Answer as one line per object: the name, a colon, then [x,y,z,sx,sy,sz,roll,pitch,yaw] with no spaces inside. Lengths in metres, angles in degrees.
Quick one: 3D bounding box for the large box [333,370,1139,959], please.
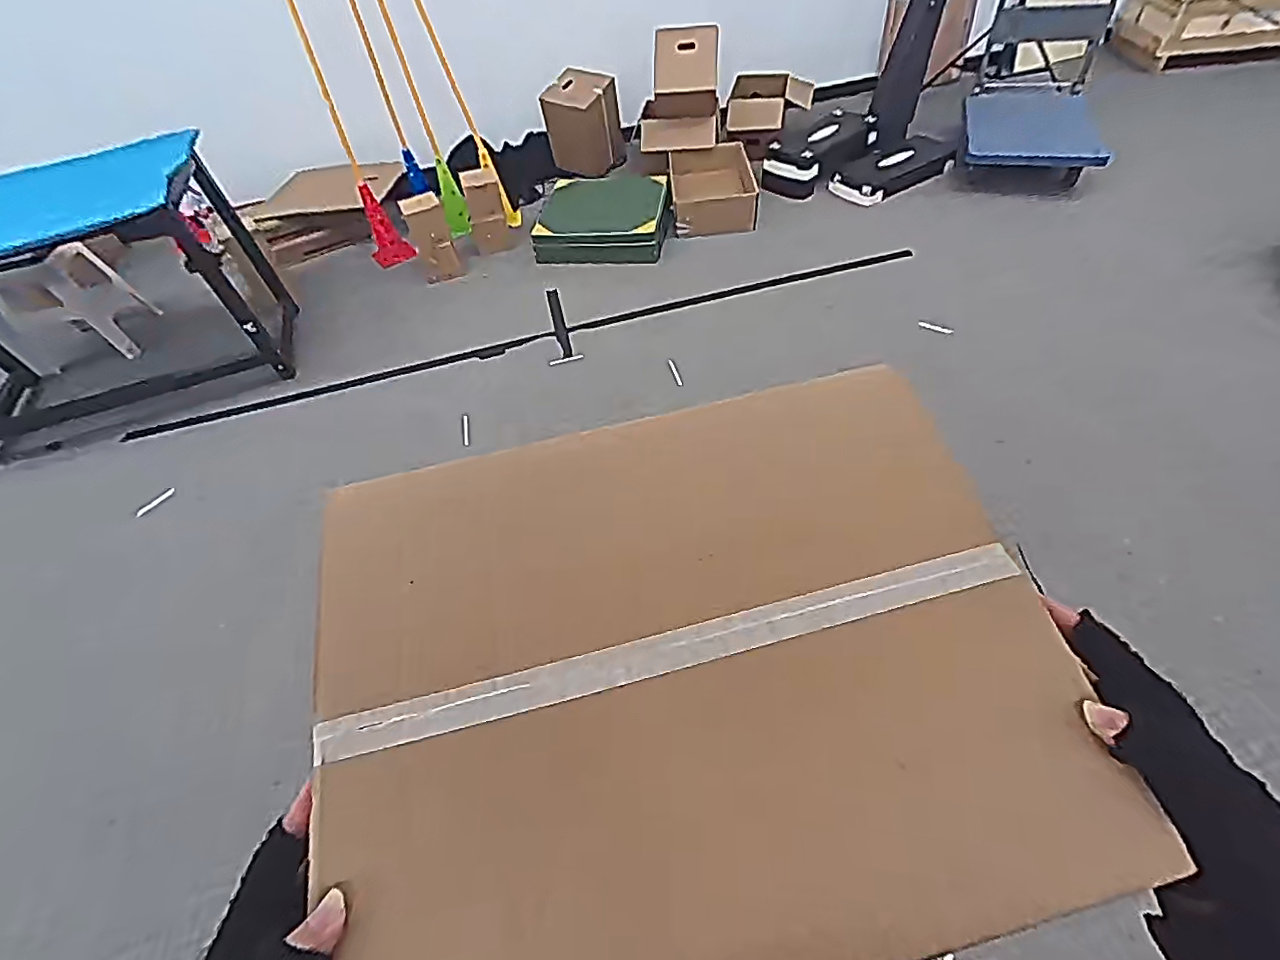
large box: [0.030,0.164,0.450,0.408,0.320,0.320,-14,62,-4]
